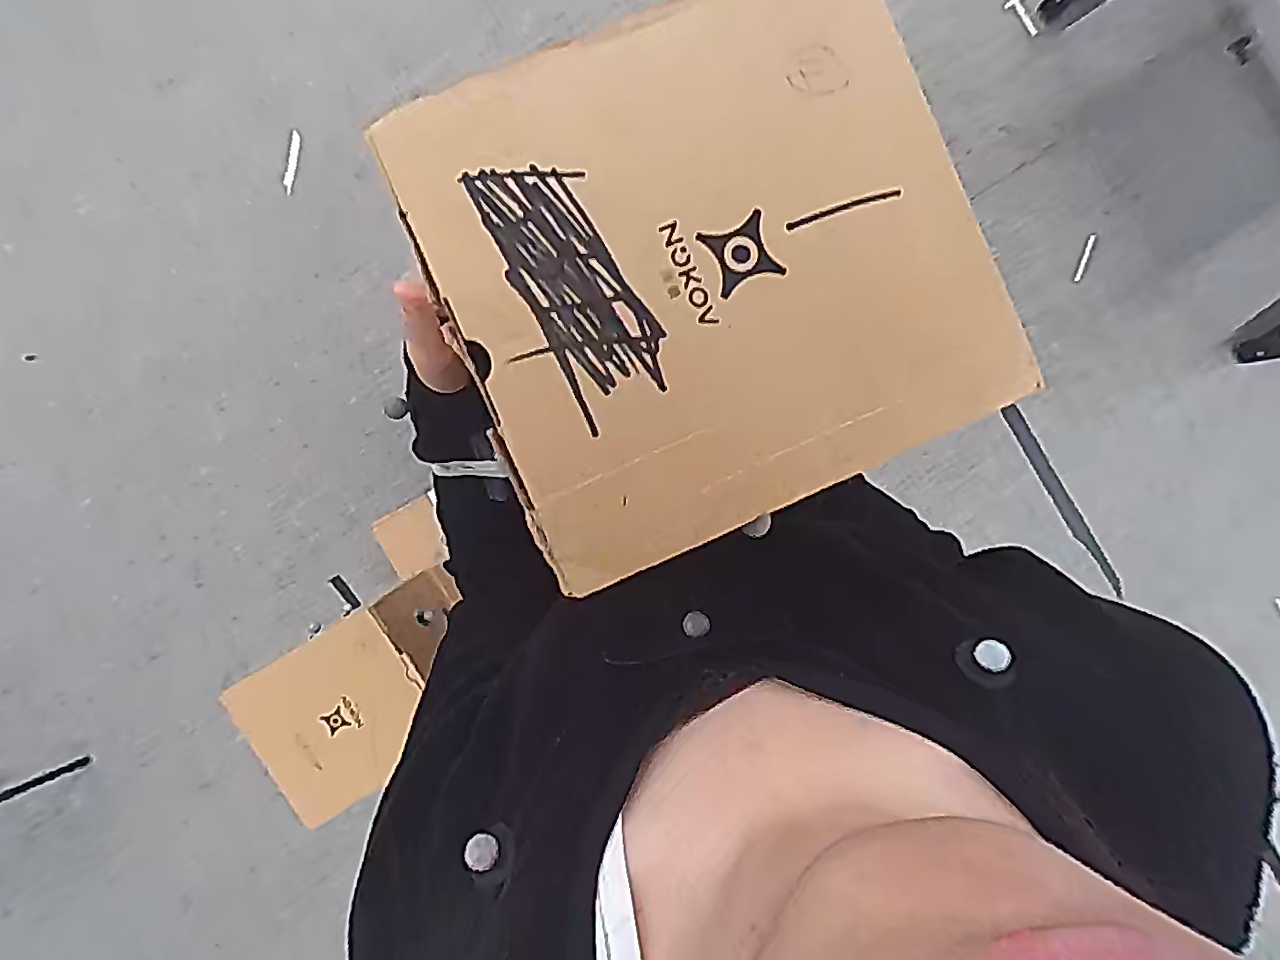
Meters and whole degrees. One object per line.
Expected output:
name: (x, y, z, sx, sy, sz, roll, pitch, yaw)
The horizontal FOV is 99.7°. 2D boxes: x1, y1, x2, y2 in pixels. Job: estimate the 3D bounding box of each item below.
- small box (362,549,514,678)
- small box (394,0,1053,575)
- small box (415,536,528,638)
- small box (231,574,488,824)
small box: (-0.299, 0.218, 0.780, 0.179, 0.176, 0.168, -31, 94, -1)
small box: (0.026, -0.073, 0.256, 0.179, 0.176, 0.168, -23, 92, -4)
small box: (-0.310, 0.214, 0.942, 0.179, 0.176, 0.168, -29, 94, -2)
small box: (-0.294, 0.229, 0.618, 0.179, 0.176, 0.168, -32, 93, 0)
